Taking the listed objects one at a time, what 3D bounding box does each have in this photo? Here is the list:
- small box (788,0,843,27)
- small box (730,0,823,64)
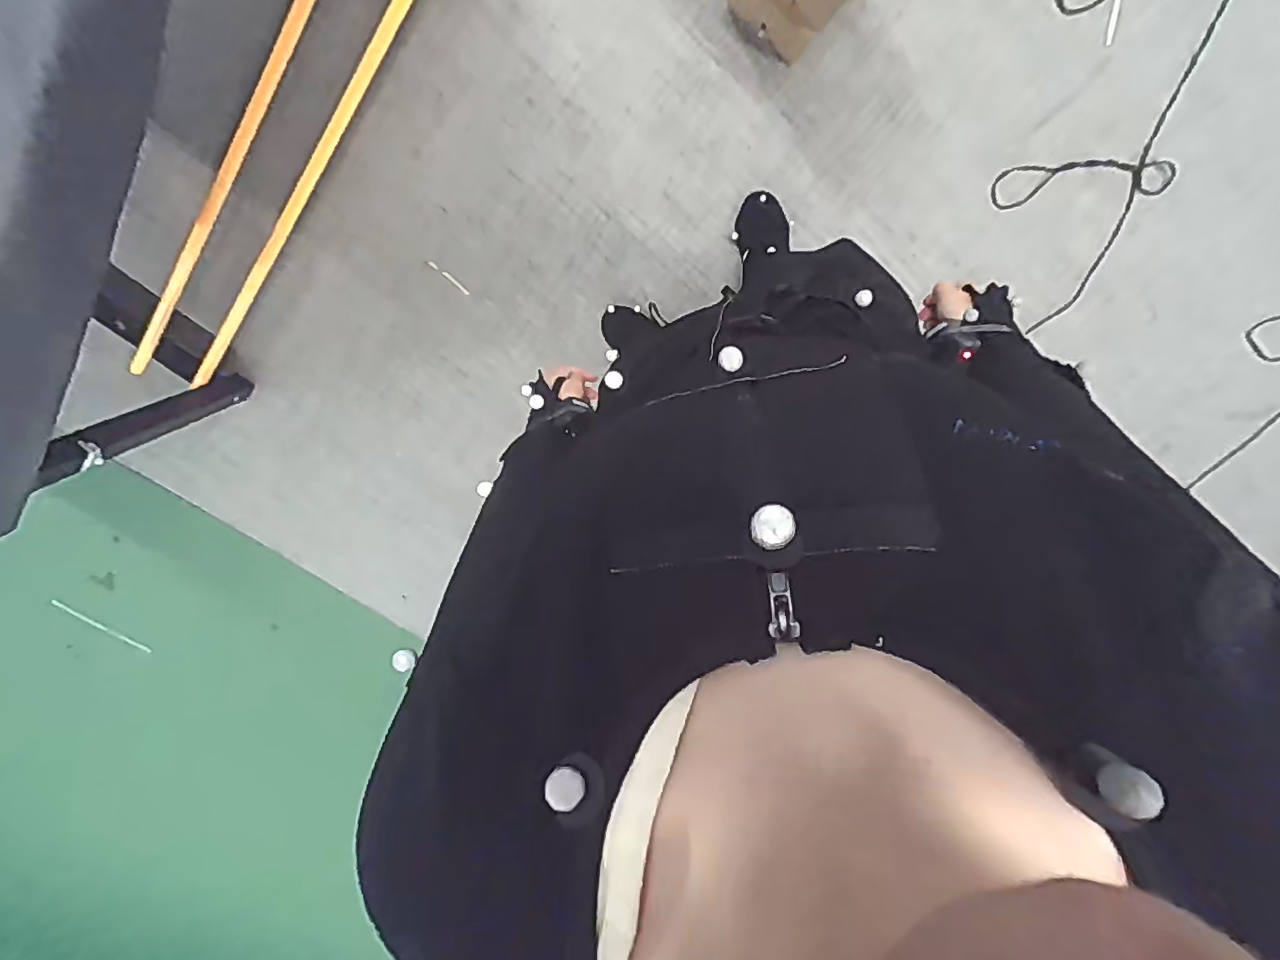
[{"bbox_3d":[0.275,-0.810,0.772,0.168,0.176,0.179,33,111,-13],"label":"small box"},{"bbox_3d":[0.271,-0.871,0.925,0.168,0.176,0.179,33,112,-12],"label":"small box"}]
